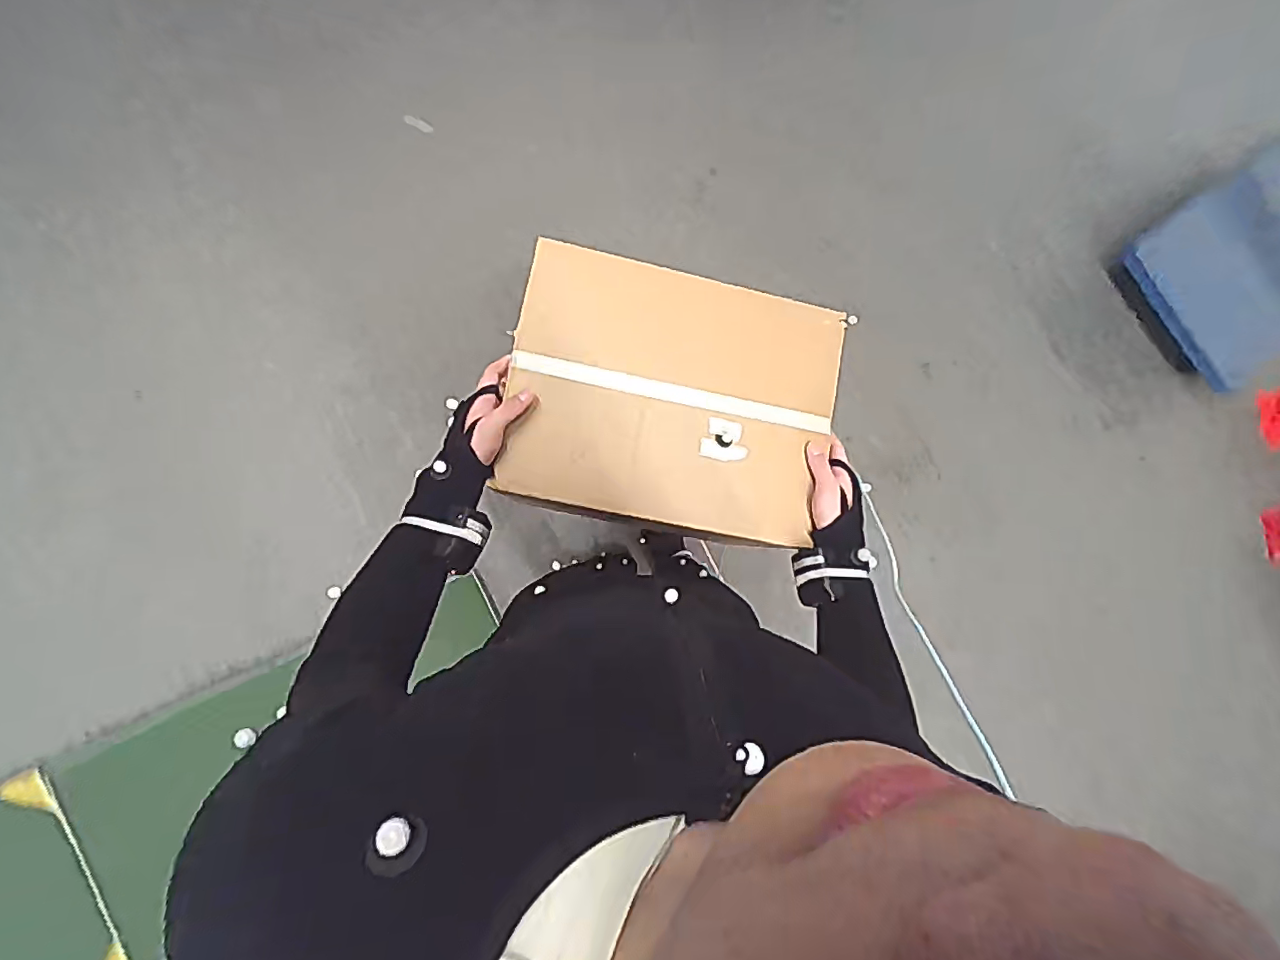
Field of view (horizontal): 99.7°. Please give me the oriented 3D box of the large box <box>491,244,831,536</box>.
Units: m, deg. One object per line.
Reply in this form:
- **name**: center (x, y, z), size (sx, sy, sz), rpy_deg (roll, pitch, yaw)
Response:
- **large box**: center (0.015, -0.096, 0.817), size (0.408, 0.320, 0.320), rpy_deg (10, 83, -8)
